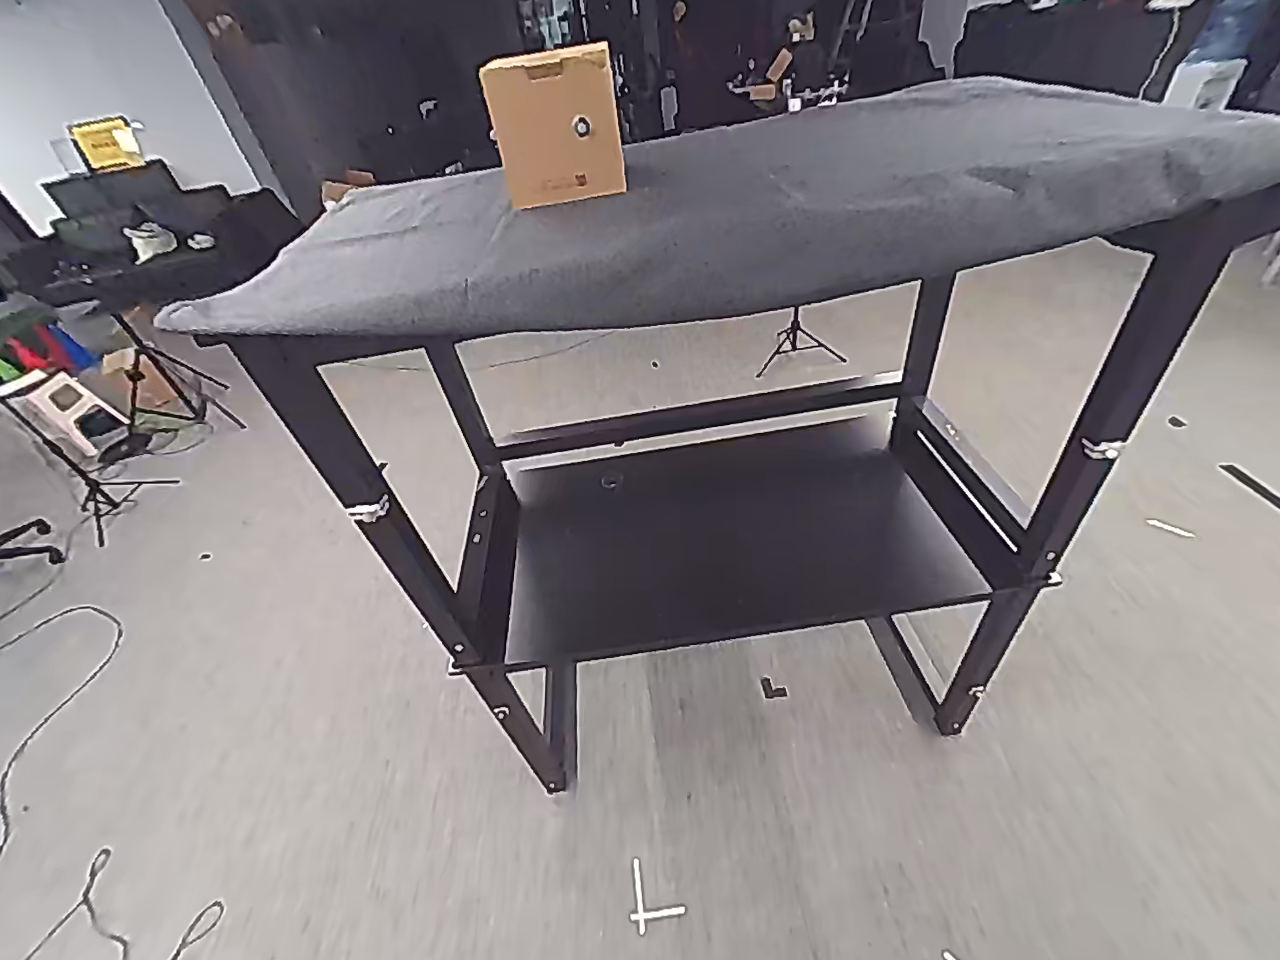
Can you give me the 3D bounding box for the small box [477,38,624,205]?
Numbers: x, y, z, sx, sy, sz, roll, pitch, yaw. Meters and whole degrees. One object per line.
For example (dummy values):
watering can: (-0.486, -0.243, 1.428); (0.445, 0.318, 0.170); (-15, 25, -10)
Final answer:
small box: (-0.115, -0.511, 0.780); (0.168, 0.176, 0.179); (-7, 42, 3)
